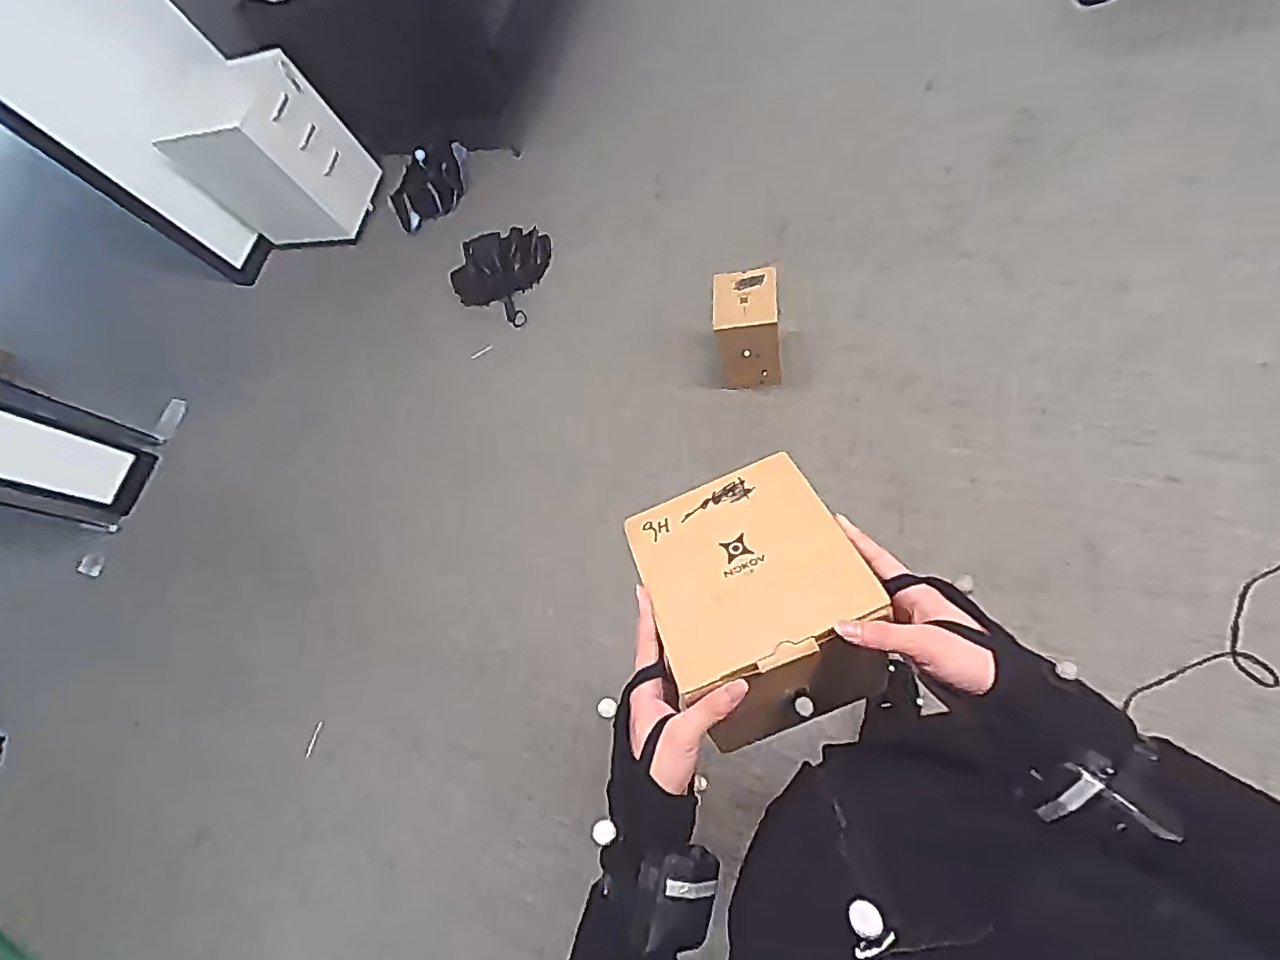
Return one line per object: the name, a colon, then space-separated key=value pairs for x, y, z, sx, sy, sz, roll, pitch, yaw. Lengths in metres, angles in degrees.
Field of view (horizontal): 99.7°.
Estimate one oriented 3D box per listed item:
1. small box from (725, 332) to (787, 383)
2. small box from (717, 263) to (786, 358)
small box: x=0.348 y=-0.402 z=1.612 sx=0.168 sy=0.176 sz=0.179 roll=-3 pitch=69 yaw=17
small box: x=0.304 y=-0.452 z=1.461 sx=0.168 sy=0.176 sz=0.179 roll=-2 pitch=72 yaw=18
